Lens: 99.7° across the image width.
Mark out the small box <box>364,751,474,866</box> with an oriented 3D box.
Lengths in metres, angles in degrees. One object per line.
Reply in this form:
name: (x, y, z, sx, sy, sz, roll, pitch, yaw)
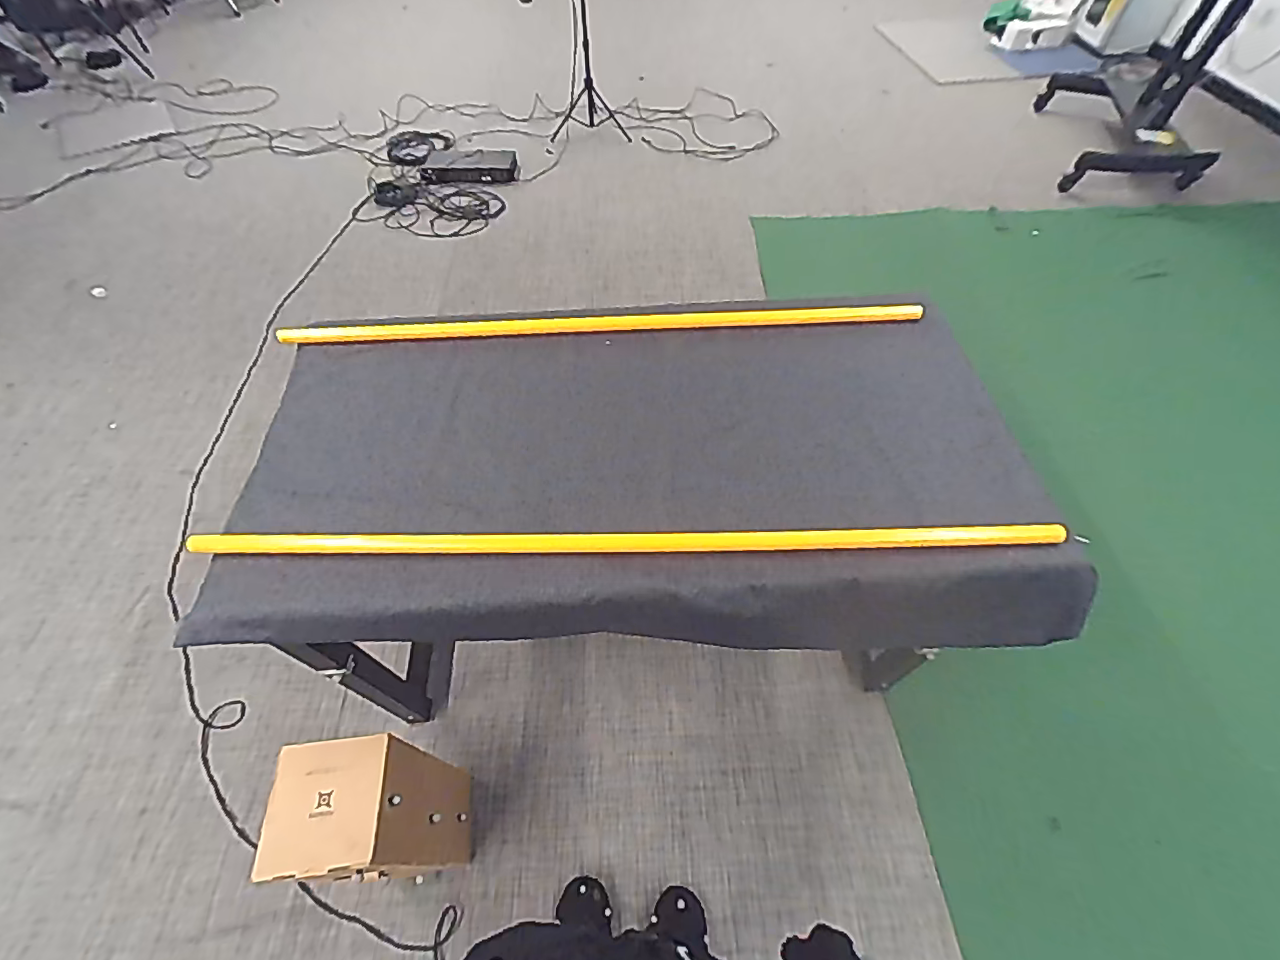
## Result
small box: (-0.456, 0.694, 1.140, 0.168, 0.176, 0.179, -9, 56, -5)
